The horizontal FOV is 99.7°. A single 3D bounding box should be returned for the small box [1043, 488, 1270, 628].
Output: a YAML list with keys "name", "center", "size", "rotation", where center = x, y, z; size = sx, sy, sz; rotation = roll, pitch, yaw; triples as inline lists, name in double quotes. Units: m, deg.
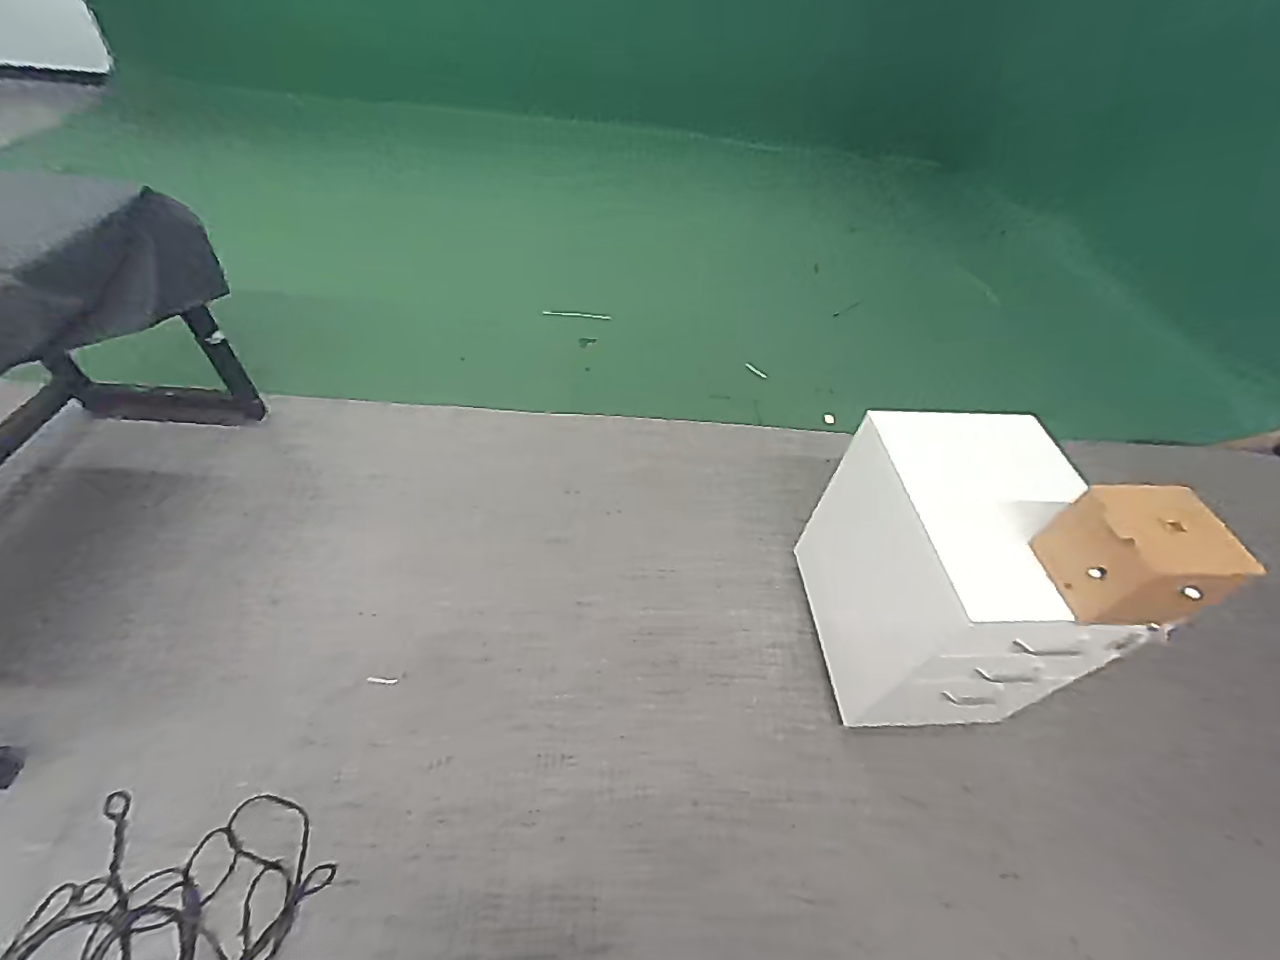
- name: "small box"
  center: [0.805, 0.129, 0.875]
  size: [0.179, 0.176, 0.168]
  rotation: [1, 49, -6]
